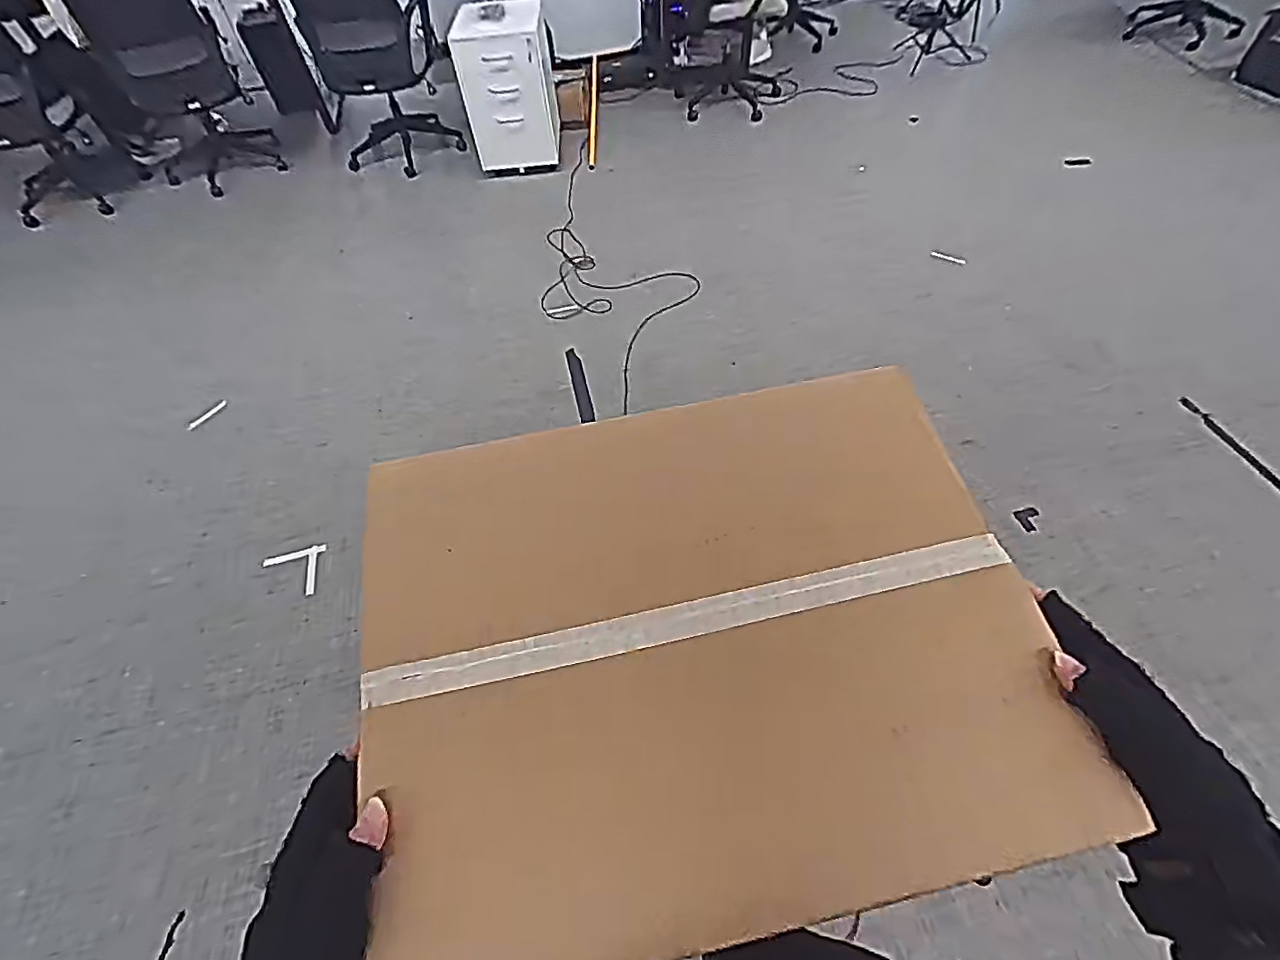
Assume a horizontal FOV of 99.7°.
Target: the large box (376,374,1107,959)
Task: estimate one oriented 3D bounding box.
[{"bbox_3d":[0.039,0.156,0.478,0.408,0.320,0.320,-12,62,-4],"label":"large box"}]
